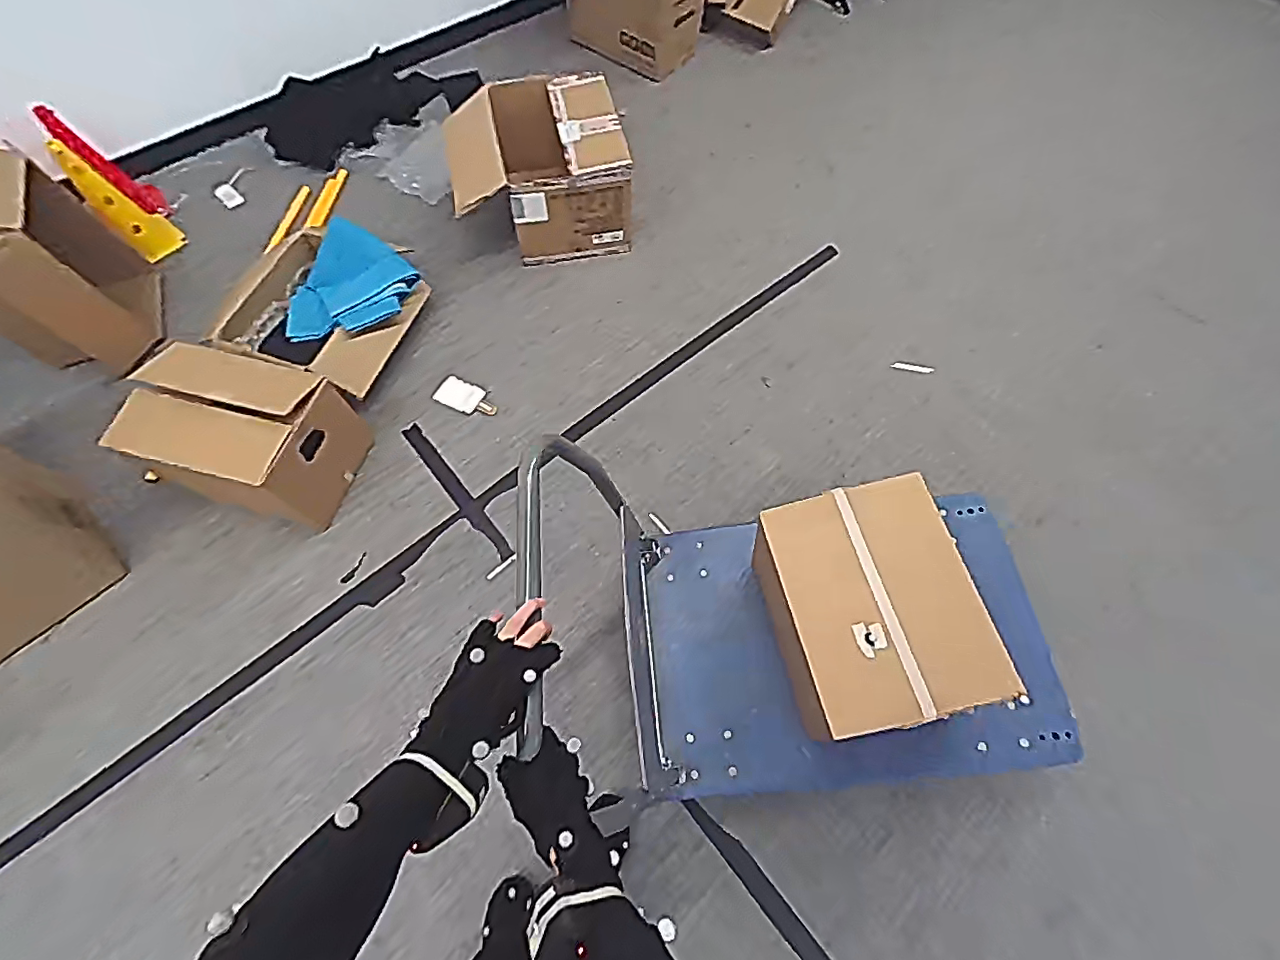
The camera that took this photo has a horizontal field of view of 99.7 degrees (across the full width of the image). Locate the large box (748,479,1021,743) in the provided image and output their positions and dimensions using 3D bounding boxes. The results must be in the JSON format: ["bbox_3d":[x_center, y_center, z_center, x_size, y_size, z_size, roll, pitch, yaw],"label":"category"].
[{"bbox_3d":[0.431,0.267,1.077,0.320,0.320,0.408,-16,65,2],"label":"large box"}]
